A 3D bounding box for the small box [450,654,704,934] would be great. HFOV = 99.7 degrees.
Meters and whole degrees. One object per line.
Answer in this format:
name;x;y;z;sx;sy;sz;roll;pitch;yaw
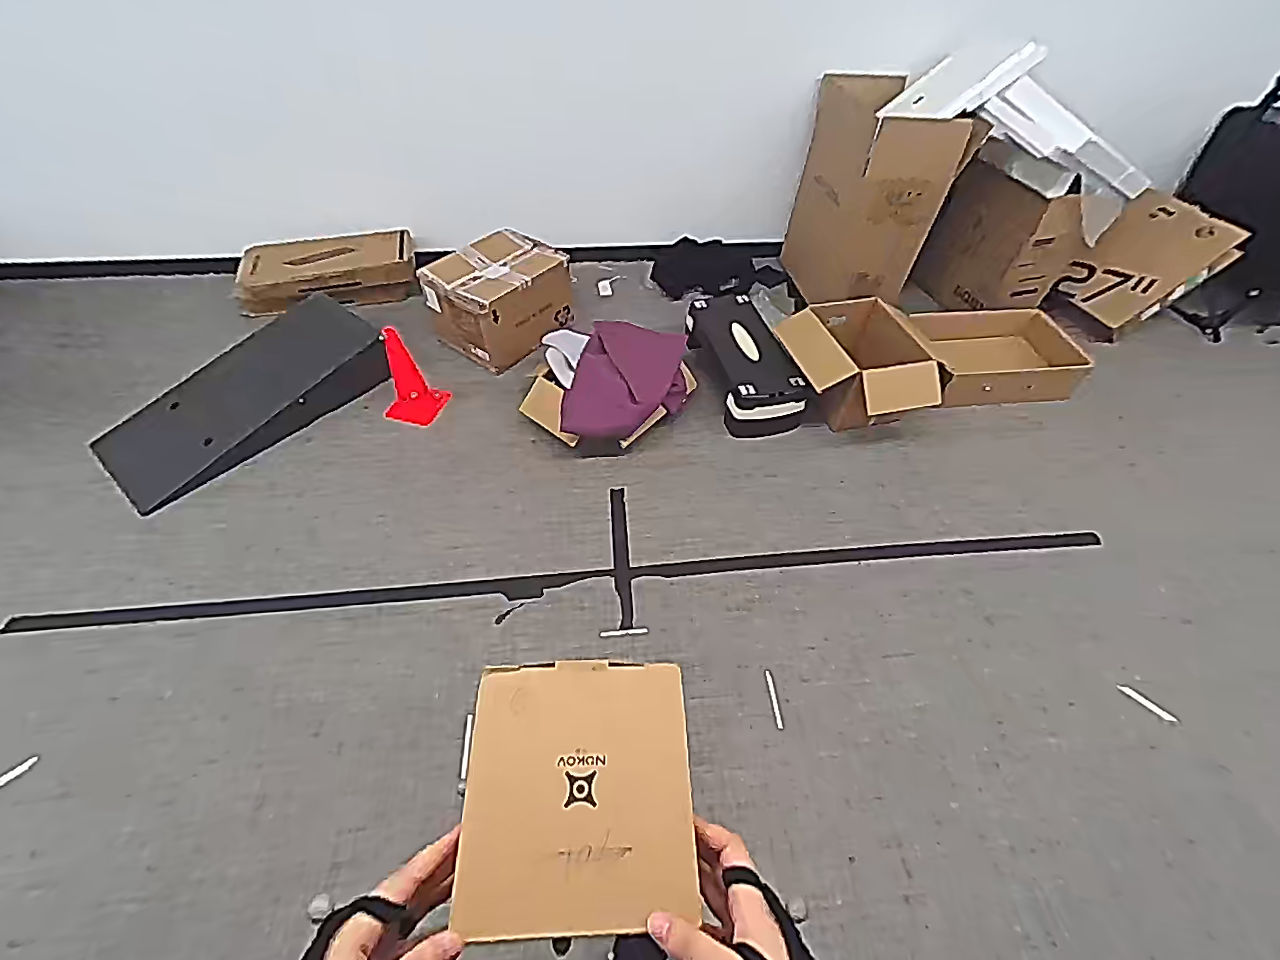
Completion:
small box;-0.049;0.262;0.458;0.168;0.176;0.179;1;55;-5
